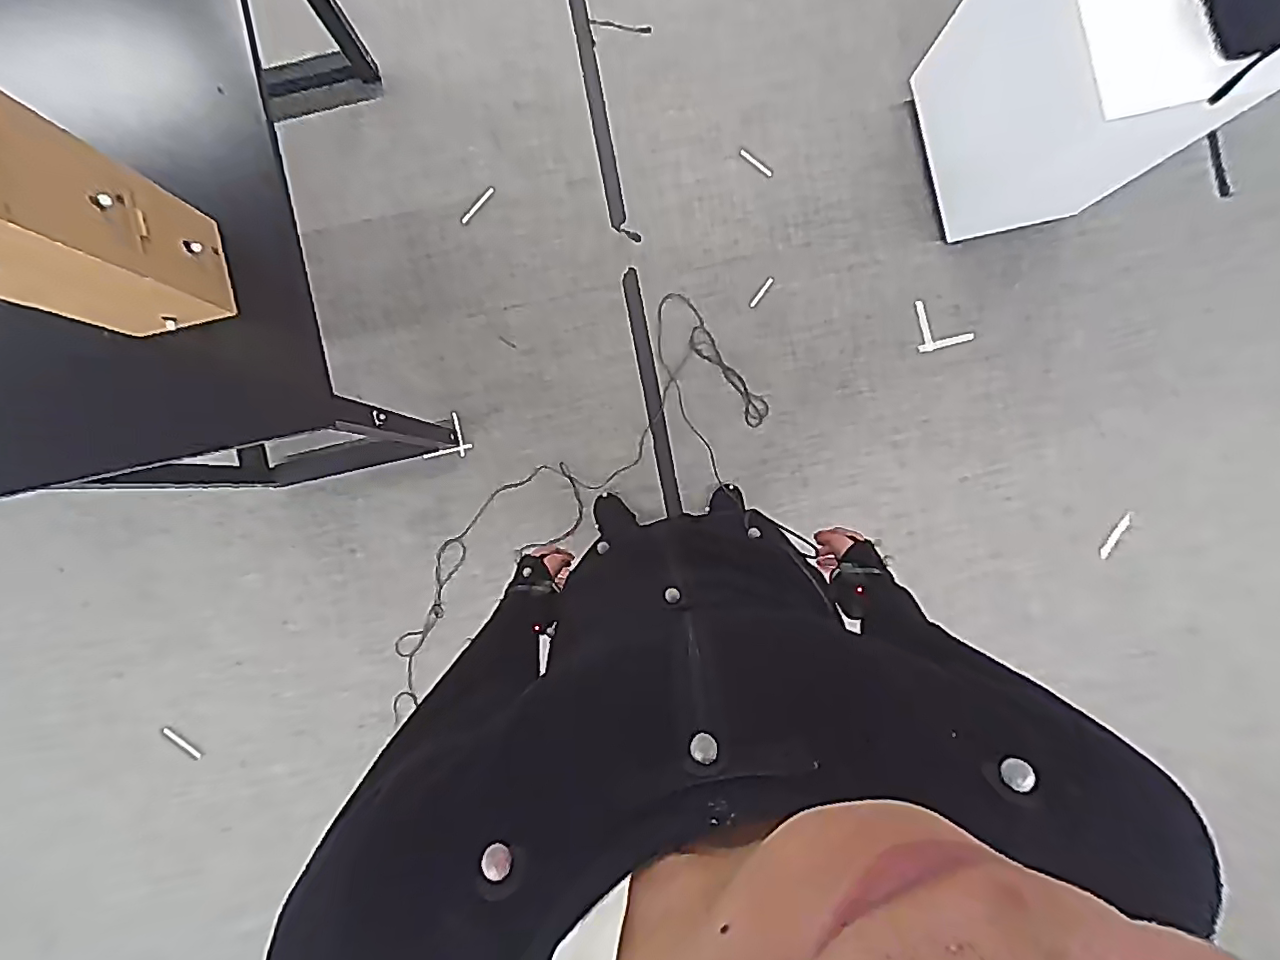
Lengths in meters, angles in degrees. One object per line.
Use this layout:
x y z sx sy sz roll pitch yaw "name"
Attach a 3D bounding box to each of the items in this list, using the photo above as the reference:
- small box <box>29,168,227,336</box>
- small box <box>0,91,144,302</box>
-0.778 -0.336 0.827 0.179 0.176 0.168 -14 89 -1 "small box"
-0.779 -0.336 0.662 0.179 0.176 0.168 -13 90 0 "small box"
